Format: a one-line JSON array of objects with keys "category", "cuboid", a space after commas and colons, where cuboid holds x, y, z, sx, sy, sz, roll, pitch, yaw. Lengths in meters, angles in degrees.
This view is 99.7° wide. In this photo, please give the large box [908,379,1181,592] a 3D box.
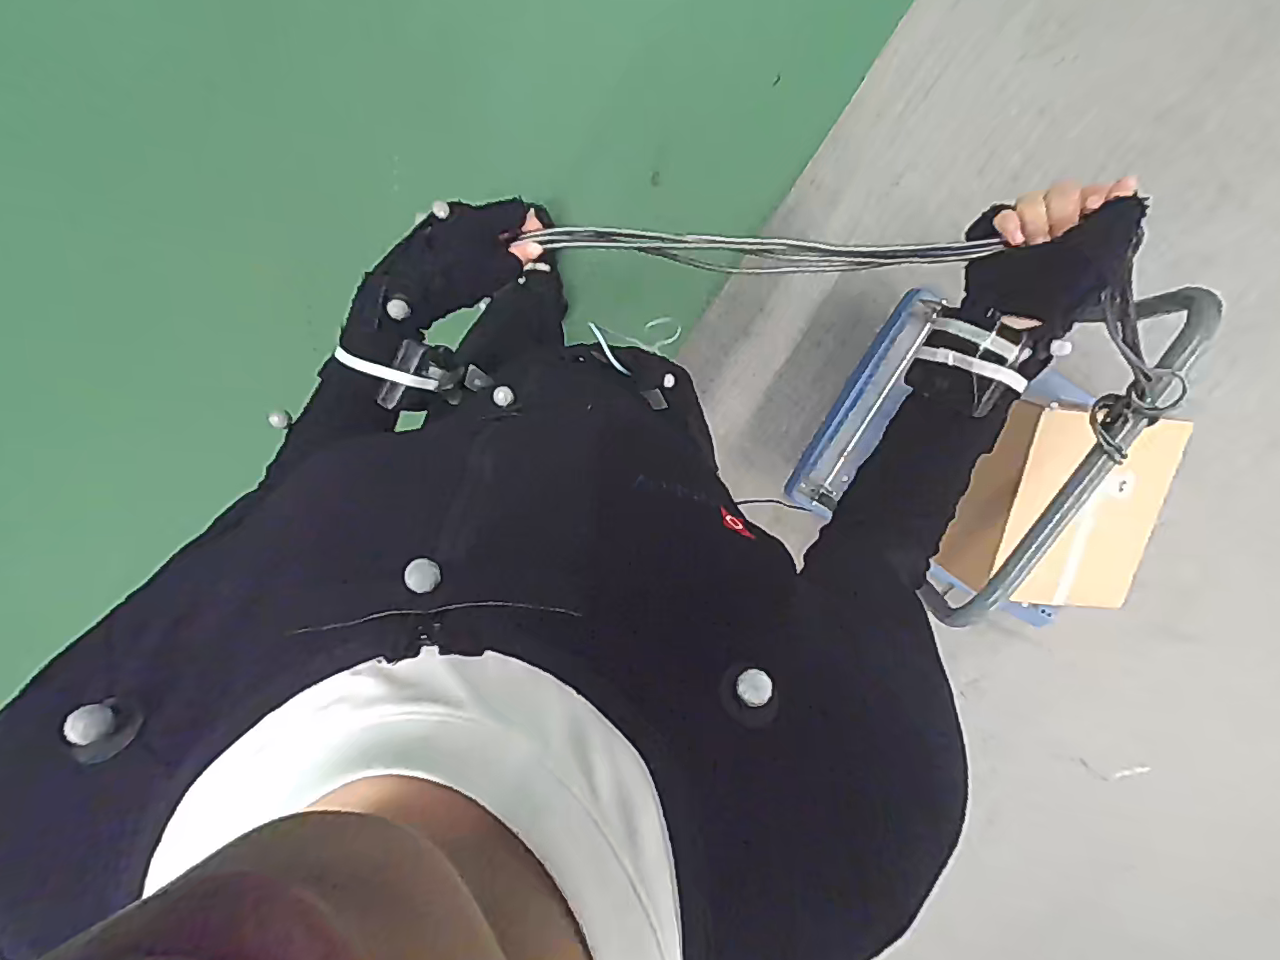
[{"category": "large box", "cuboid": [0.872, -0.001, 1.232, 0.320, 0.320, 0.408, 5, 106, -5]}]
